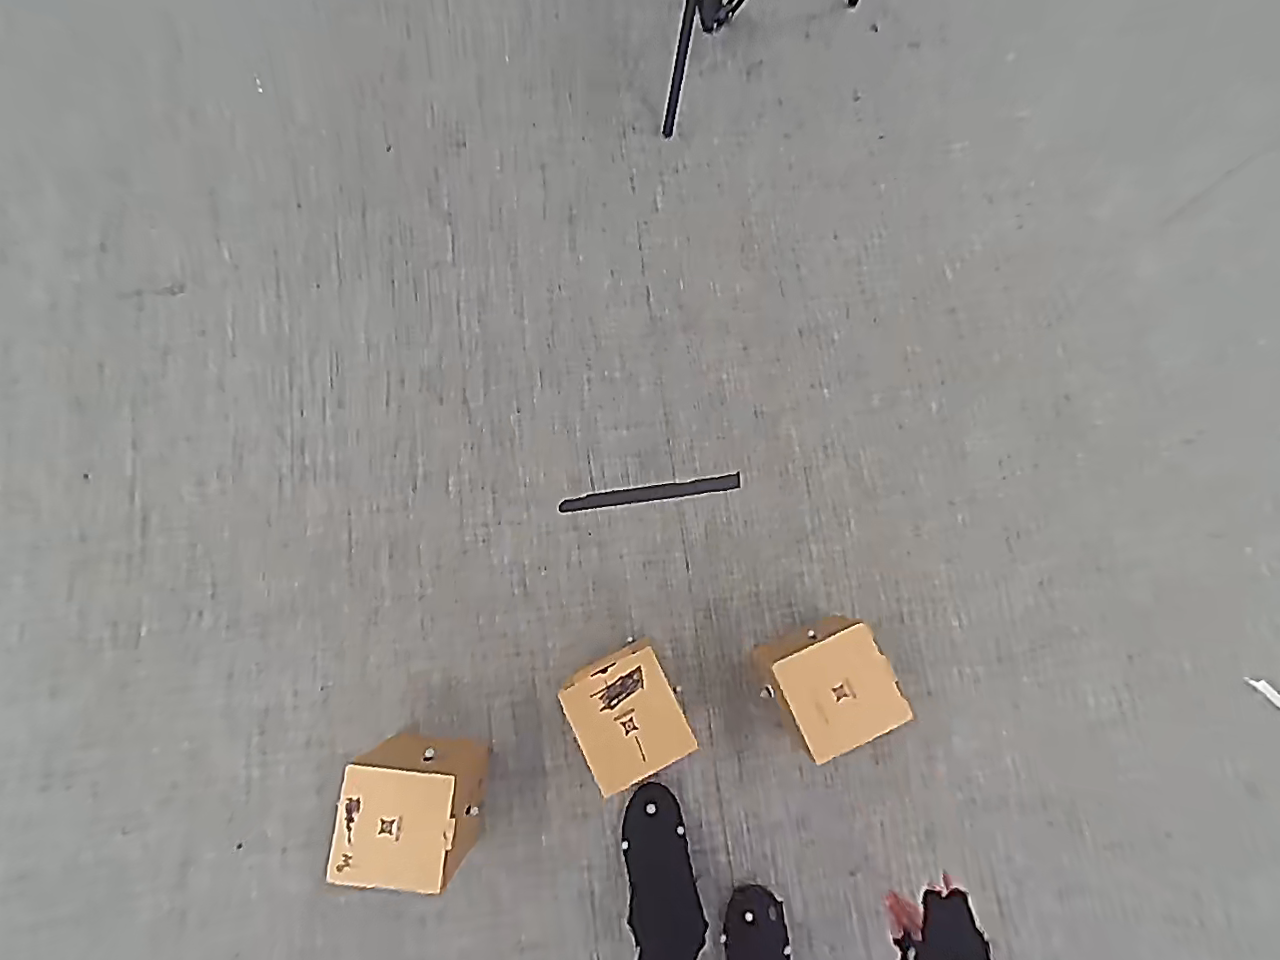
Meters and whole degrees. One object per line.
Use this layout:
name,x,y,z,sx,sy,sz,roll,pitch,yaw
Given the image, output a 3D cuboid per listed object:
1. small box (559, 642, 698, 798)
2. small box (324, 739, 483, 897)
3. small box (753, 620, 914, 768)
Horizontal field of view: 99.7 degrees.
small box,-0.021,0.388,0.914,0.168,0.176,0.179,-26,81,-5
small box,-0.370,0.537,0.883,0.179,0.176,0.168,6,78,1
small box,0.317,0.352,0.927,0.179,0.176,0.168,-25,79,-4
